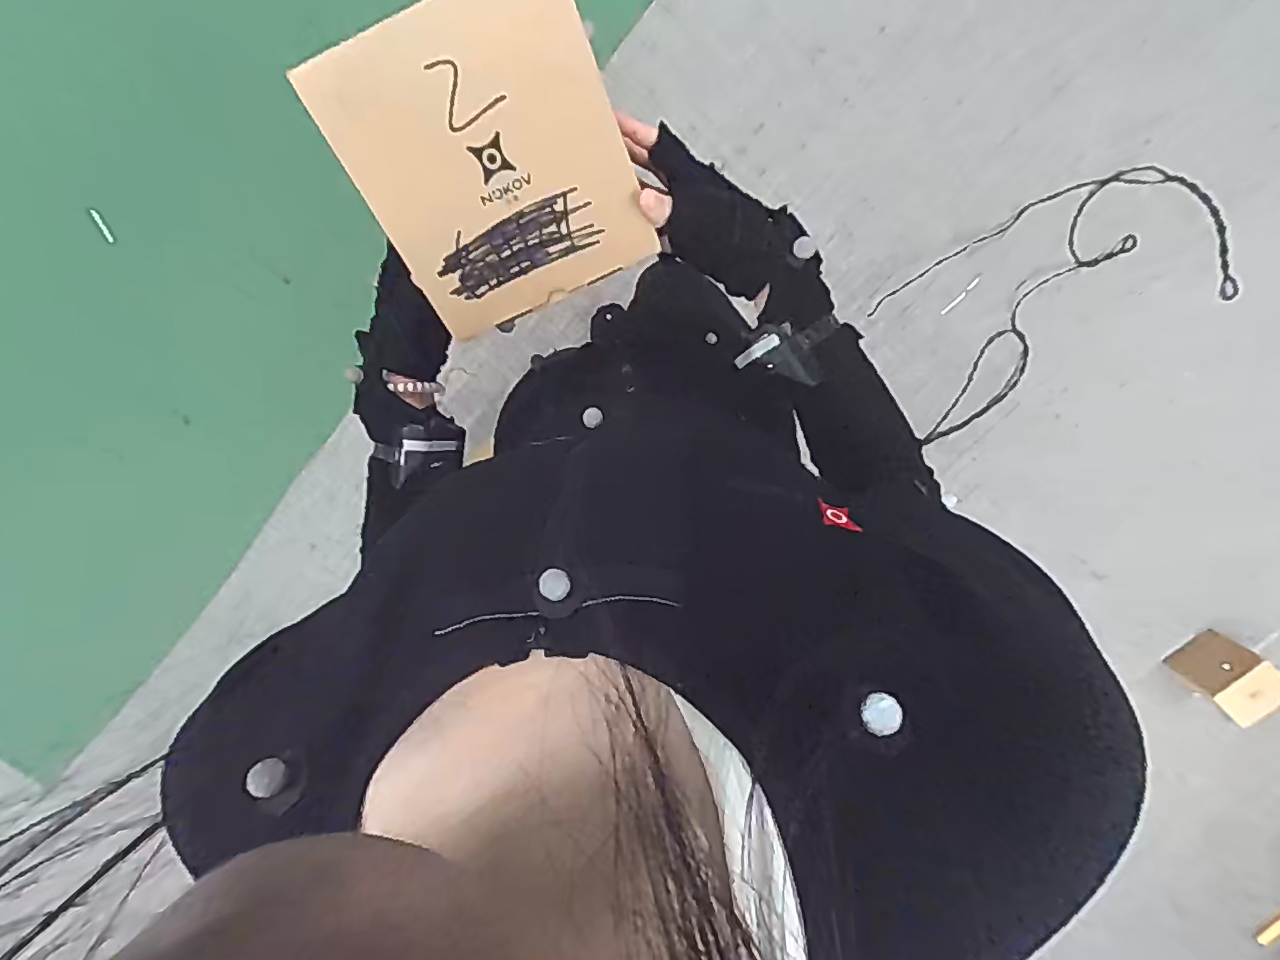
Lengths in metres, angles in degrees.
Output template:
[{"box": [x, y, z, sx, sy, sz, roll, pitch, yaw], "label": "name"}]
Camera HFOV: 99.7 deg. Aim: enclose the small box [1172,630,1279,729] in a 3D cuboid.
[{"box": [1.760, 0.589, 1.612, 0.168, 0.176, 0.179, 39, 103, -11], "label": "small box"}]
